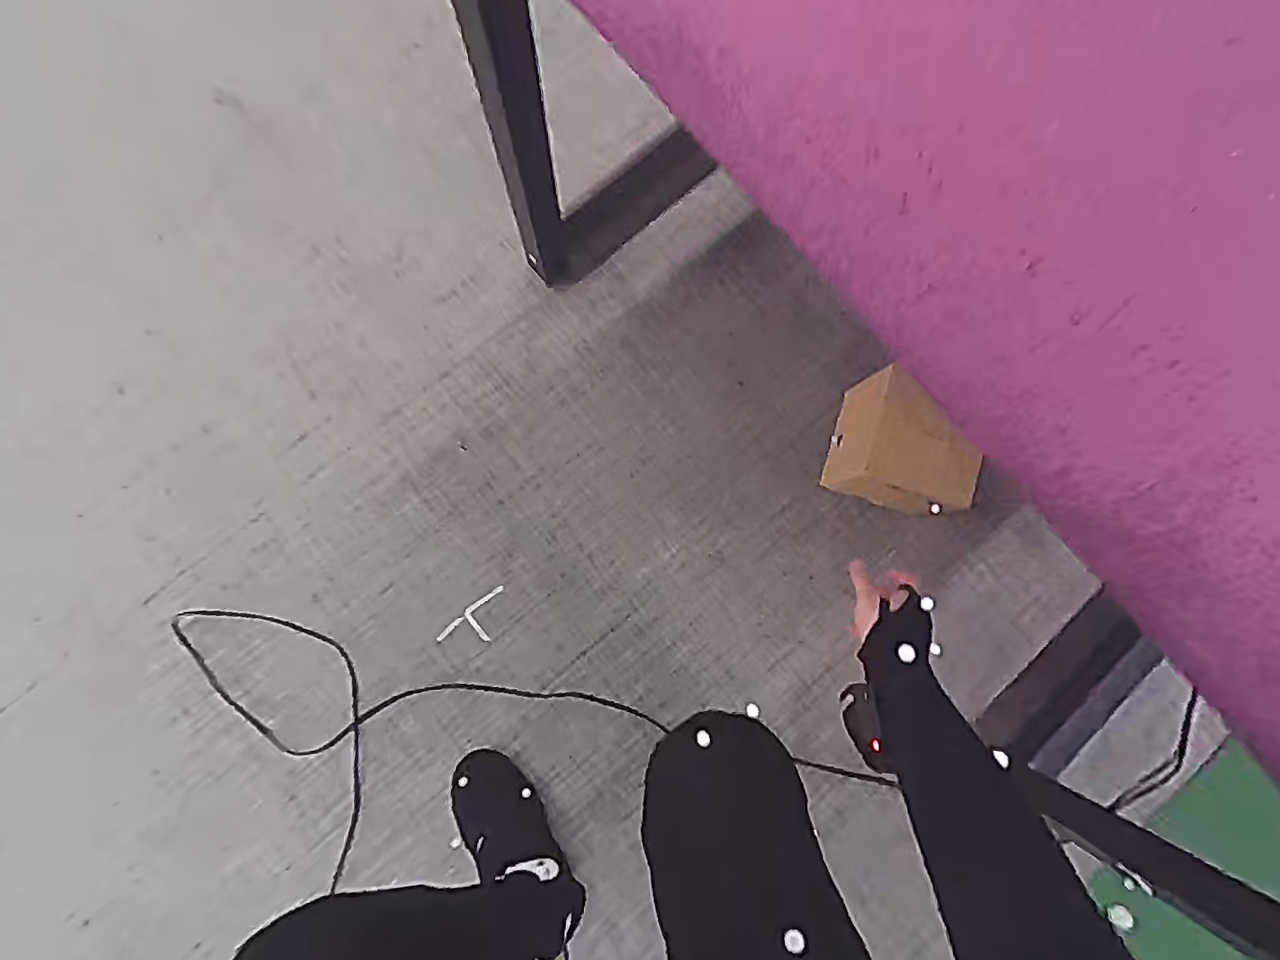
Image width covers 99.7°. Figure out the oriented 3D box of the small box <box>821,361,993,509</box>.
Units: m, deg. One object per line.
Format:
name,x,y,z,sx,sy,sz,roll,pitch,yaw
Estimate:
small box,0.414,-0.064,0.856,0.168,0.176,0.179,18,84,-1
